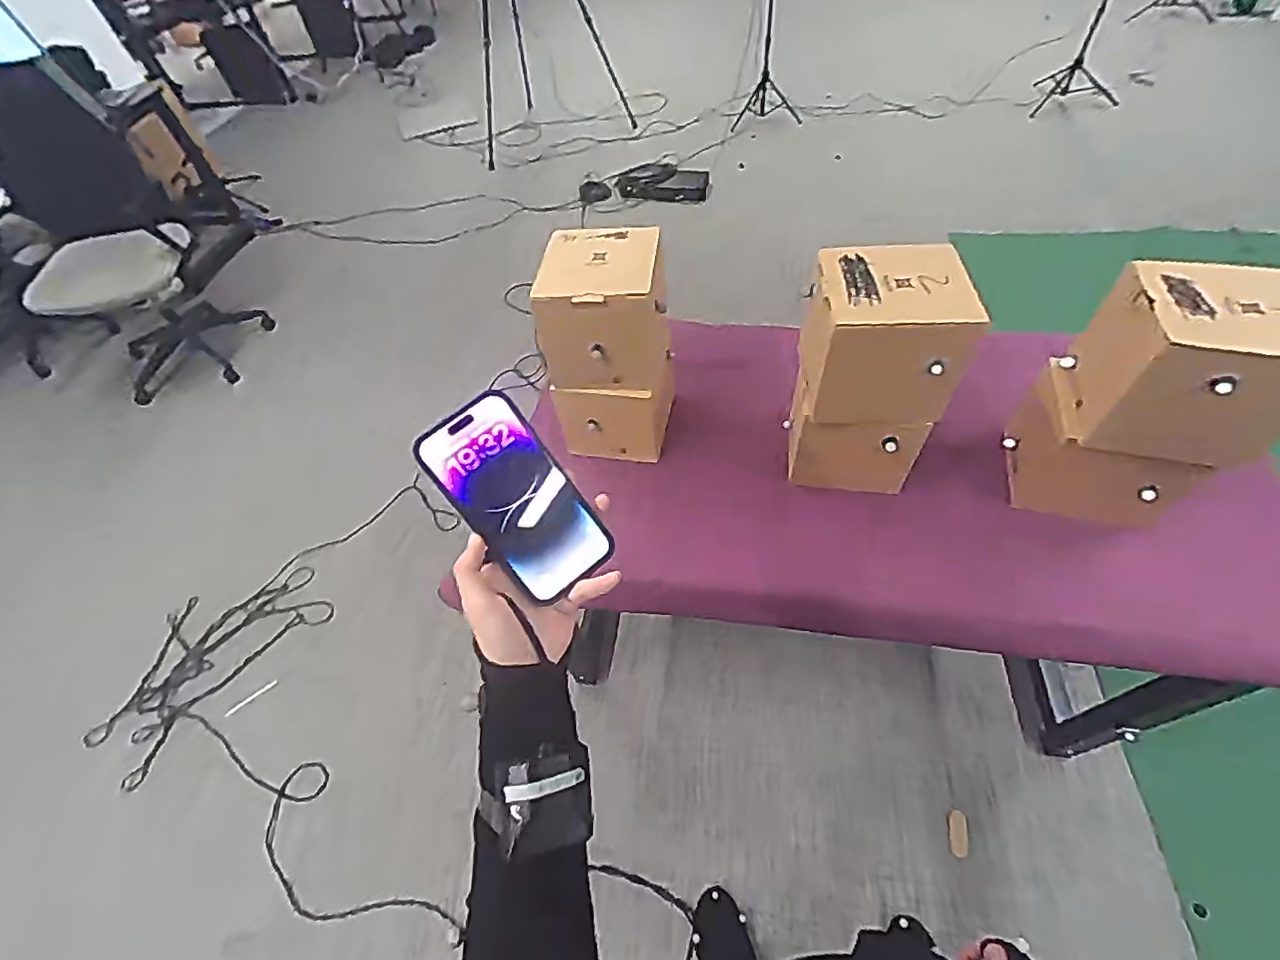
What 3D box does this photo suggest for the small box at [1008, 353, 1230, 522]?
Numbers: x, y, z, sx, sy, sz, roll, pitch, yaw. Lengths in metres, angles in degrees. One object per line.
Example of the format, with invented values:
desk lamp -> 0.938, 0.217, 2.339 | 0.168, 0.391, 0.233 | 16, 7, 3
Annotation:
small box -> 0.672, -0.058, 0.785 | 0.179, 0.176, 0.168 | 10, 54, 15

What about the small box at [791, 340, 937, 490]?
small box -> 0.342, -0.100, 0.859 | 0.179, 0.176, 0.168 | 5, 53, 11

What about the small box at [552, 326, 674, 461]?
small box -> -0.035, -0.151, 0.948 | 0.168, 0.176, 0.179 | 6, 53, 12

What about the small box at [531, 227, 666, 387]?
small box -> -0.050, -0.257, 0.823 | 0.168, 0.176, 0.179 | 2, 54, 8

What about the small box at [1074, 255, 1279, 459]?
small box -> 0.661, -0.144, 0.646 | 0.179, 0.176, 0.168 | 11, 54, 14
